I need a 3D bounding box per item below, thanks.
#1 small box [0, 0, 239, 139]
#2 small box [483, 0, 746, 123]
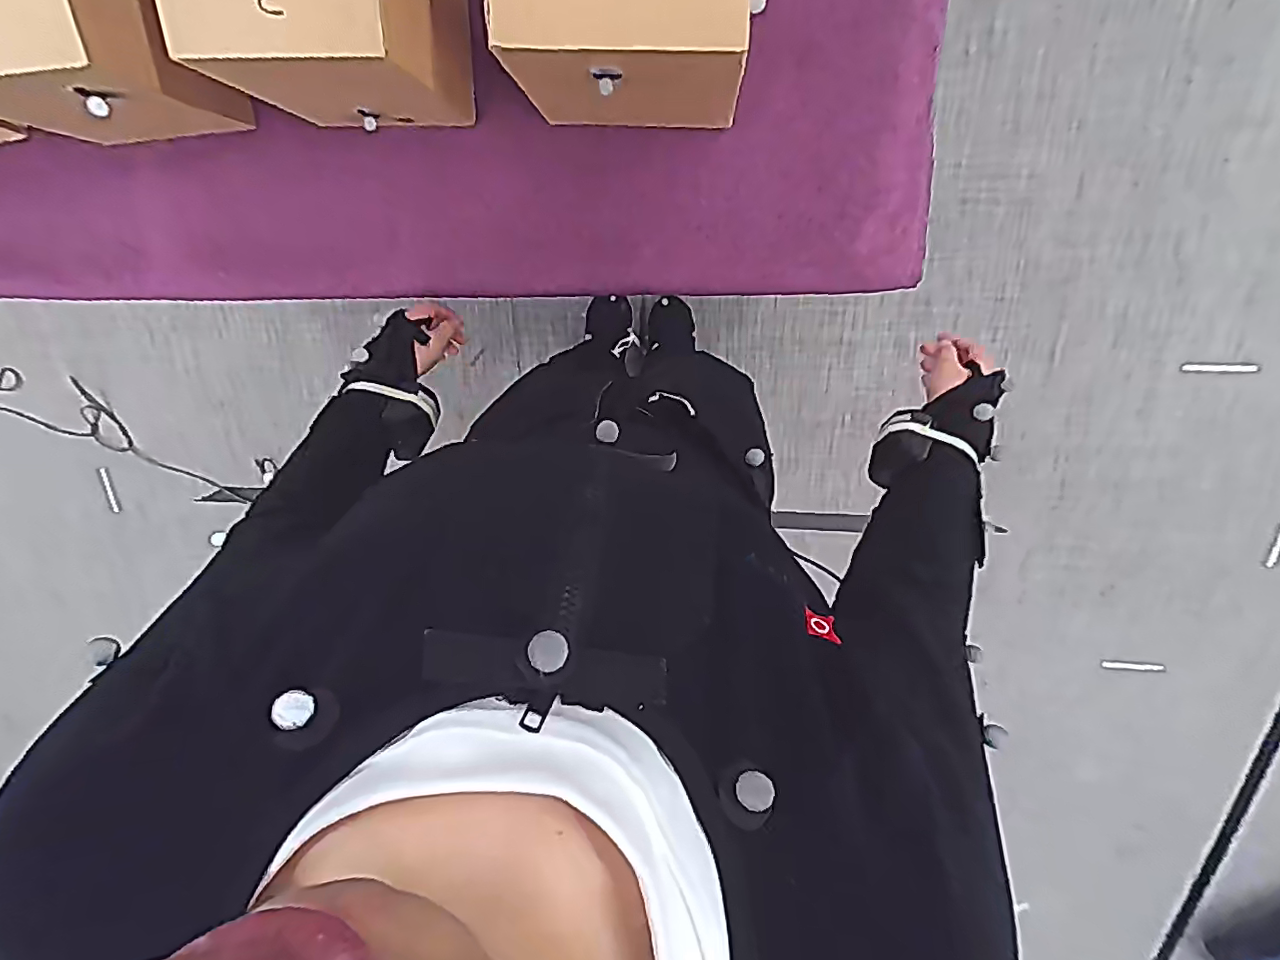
[{"bbox_3d":[-0.484,-0.407,0.454,0.179,0.176,0.168,-2,109,6],"label":"small box"},{"bbox_3d":[-0.007,-0.391,0.410,0.179,0.176,0.168,5,109,3],"label":"small box"}]
